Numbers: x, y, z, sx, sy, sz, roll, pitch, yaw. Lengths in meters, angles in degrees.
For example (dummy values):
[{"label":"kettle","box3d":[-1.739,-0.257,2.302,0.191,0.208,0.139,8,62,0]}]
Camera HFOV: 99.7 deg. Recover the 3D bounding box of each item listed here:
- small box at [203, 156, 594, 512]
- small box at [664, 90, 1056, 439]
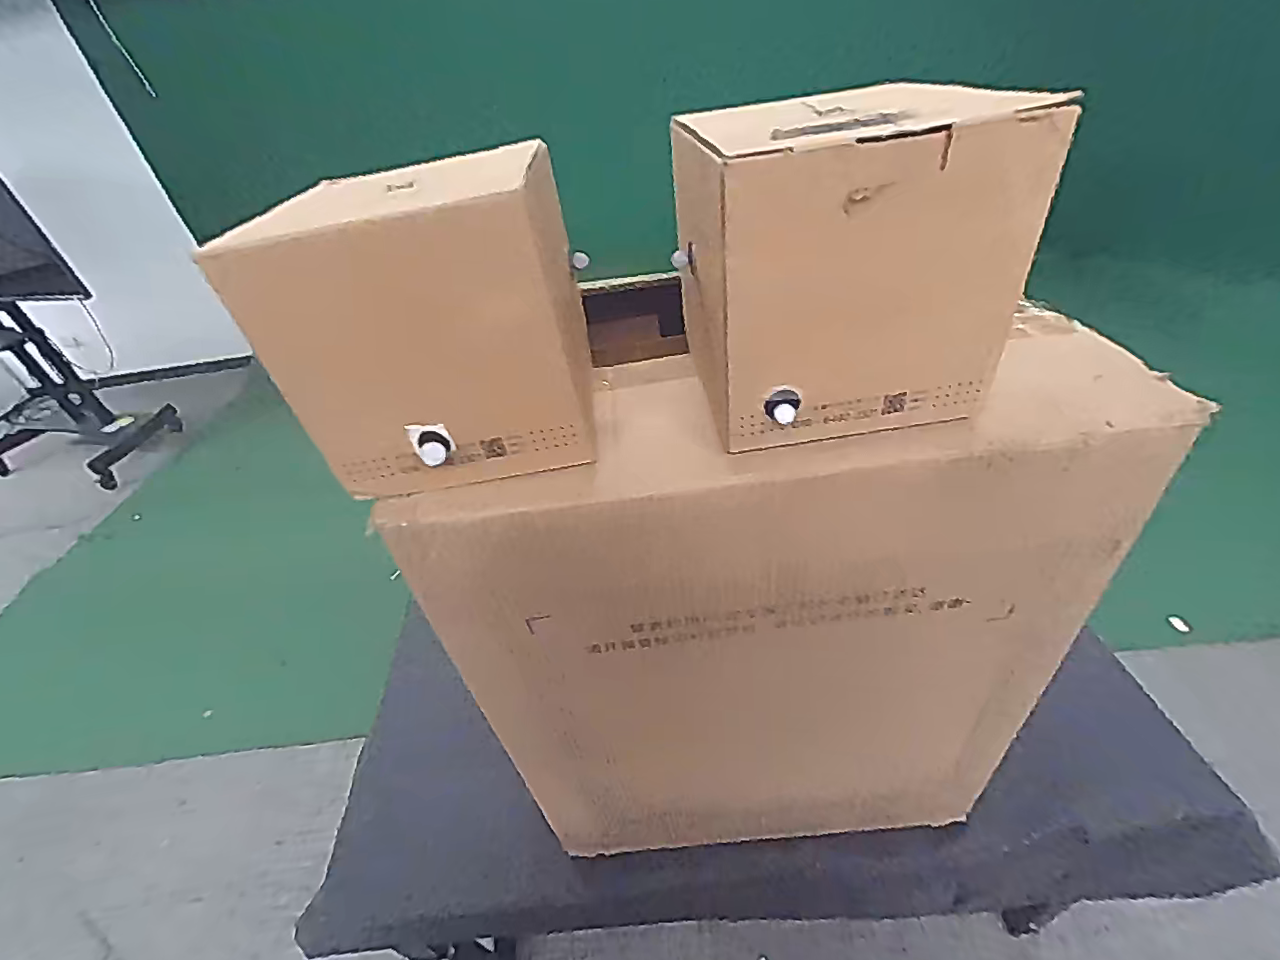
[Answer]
[{"label":"small box","box3d":[-0.131,-0.104,0.377,0.168,0.176,0.179,-11,39,2]},{"label":"small box","box3d":[0.114,-0.139,0.360,0.168,0.176,0.179,-9,38,0]}]
